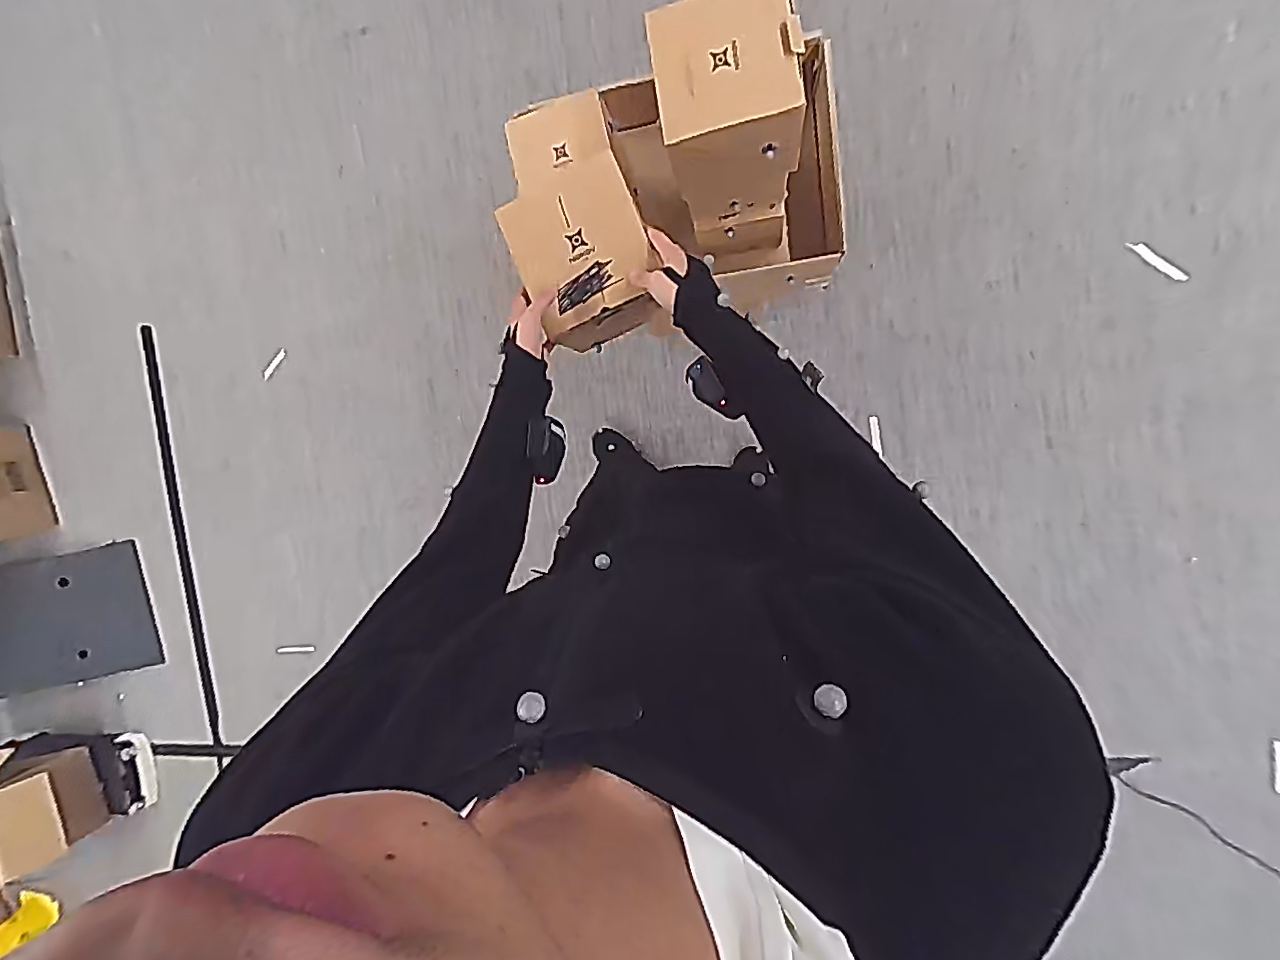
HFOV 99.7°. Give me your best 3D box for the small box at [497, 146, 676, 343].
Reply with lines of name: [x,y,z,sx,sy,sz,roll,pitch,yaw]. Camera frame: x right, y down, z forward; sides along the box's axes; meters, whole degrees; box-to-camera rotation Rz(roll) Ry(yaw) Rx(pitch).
small box: [-0.059,-0.298,0.735,0.168,0.176,0.179,-22,93,11]

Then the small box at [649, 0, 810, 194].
small box: [0.121,-0.520,0.729,0.179,0.176,0.168,-8,92,13]

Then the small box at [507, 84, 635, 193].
small box: [-0.106,-0.529,0.946,0.168,0.176,0.179,-13,93,13]
